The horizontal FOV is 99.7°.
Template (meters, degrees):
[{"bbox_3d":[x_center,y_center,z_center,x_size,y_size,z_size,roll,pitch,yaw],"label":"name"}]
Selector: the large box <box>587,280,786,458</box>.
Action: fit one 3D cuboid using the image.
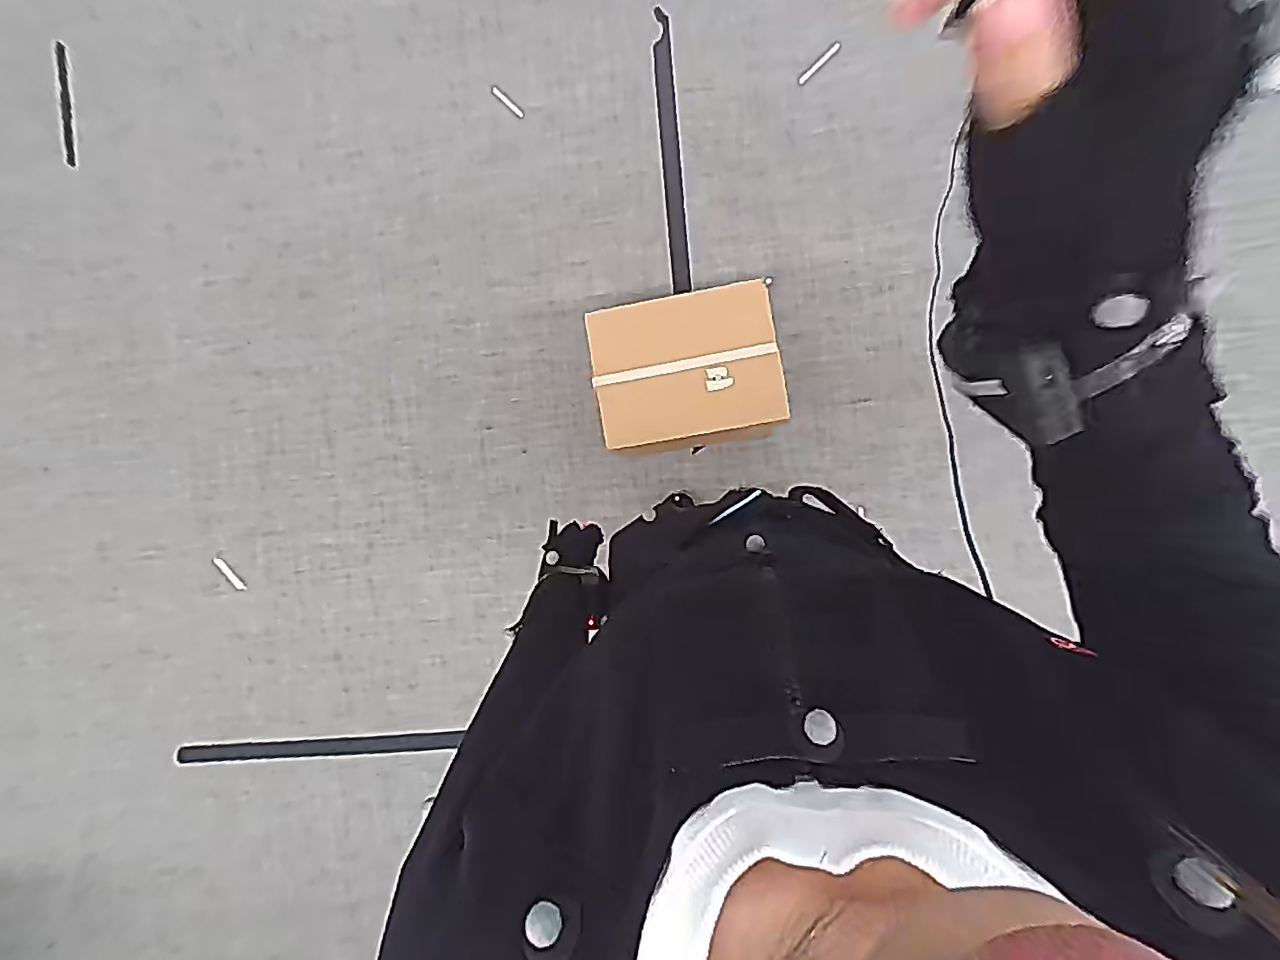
[{"bbox_3d":[0.112,-0.250,1.345,0.408,0.320,0.320,-10,88,5],"label":"large box"}]
